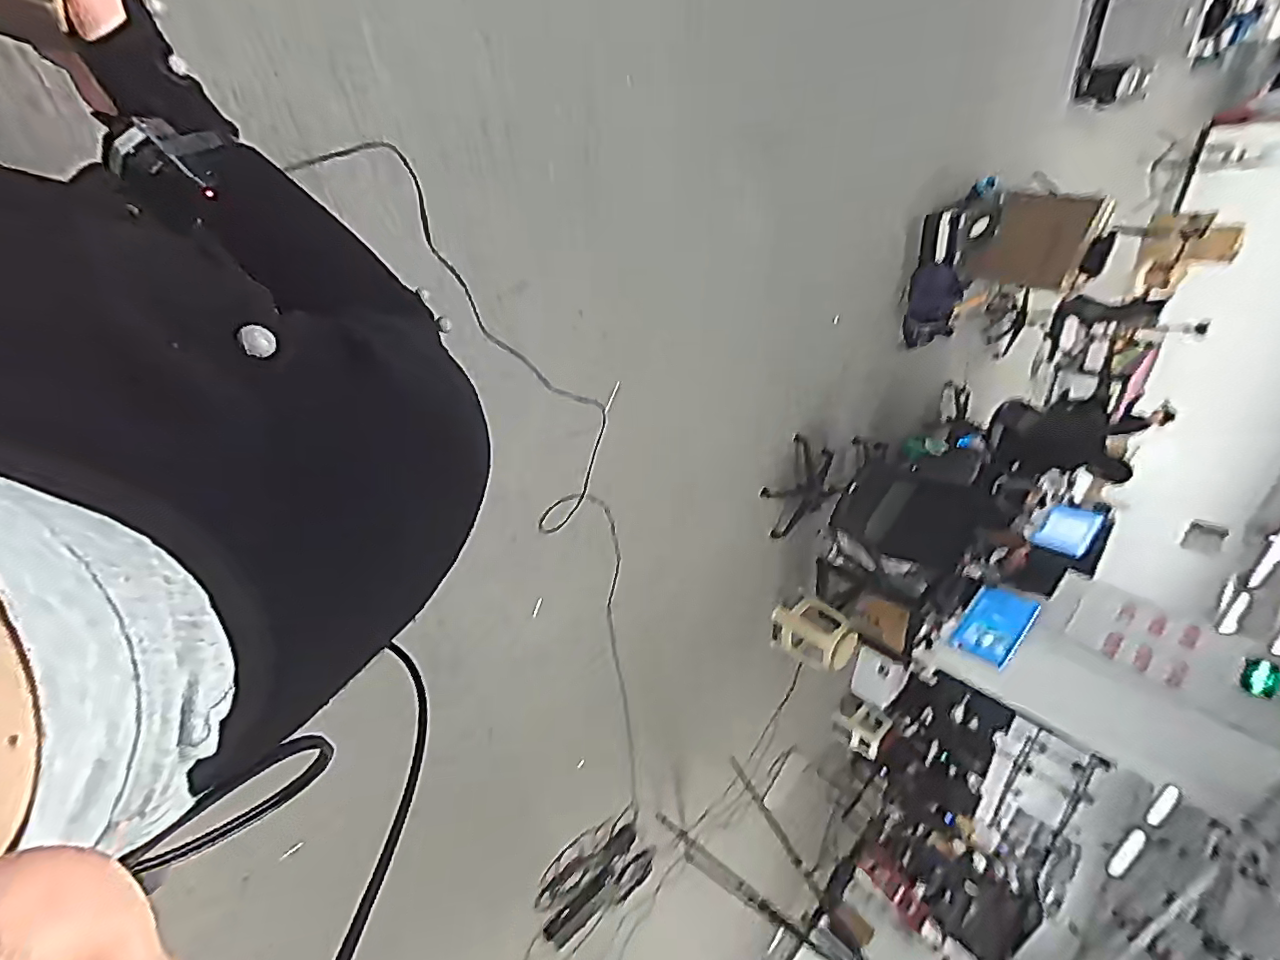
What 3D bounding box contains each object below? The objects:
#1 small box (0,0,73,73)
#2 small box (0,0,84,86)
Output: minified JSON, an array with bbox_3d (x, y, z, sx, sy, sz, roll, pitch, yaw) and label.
[{"bbox_3d":[-0.282,-0.250,0.150,0.168,0.176,0.179,-3,120,-44],"label":"small box"},{"bbox_3d":[-0.492,-0.394,0.356,0.168,0.176,0.179,-4,121,-43],"label":"small box"}]
